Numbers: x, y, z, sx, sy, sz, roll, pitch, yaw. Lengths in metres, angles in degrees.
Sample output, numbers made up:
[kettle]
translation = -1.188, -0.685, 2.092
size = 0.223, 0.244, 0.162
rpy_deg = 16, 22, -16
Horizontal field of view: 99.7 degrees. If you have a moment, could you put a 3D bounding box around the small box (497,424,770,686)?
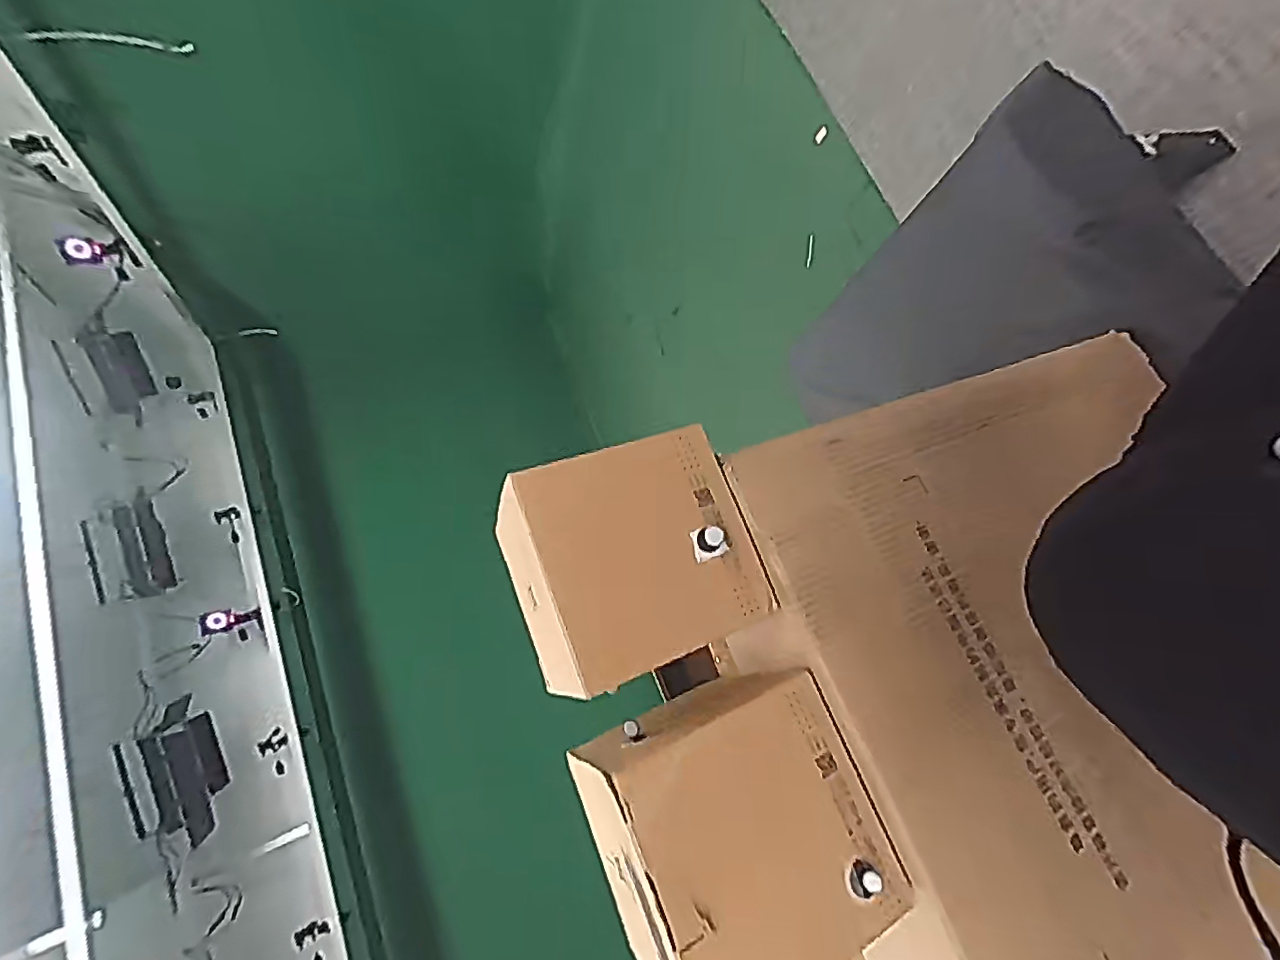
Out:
[small box]
translation = -0.016, 0.070, 0.483
size = 0.168, 0.176, 0.179
rpy_deg = 67, 155, 13
